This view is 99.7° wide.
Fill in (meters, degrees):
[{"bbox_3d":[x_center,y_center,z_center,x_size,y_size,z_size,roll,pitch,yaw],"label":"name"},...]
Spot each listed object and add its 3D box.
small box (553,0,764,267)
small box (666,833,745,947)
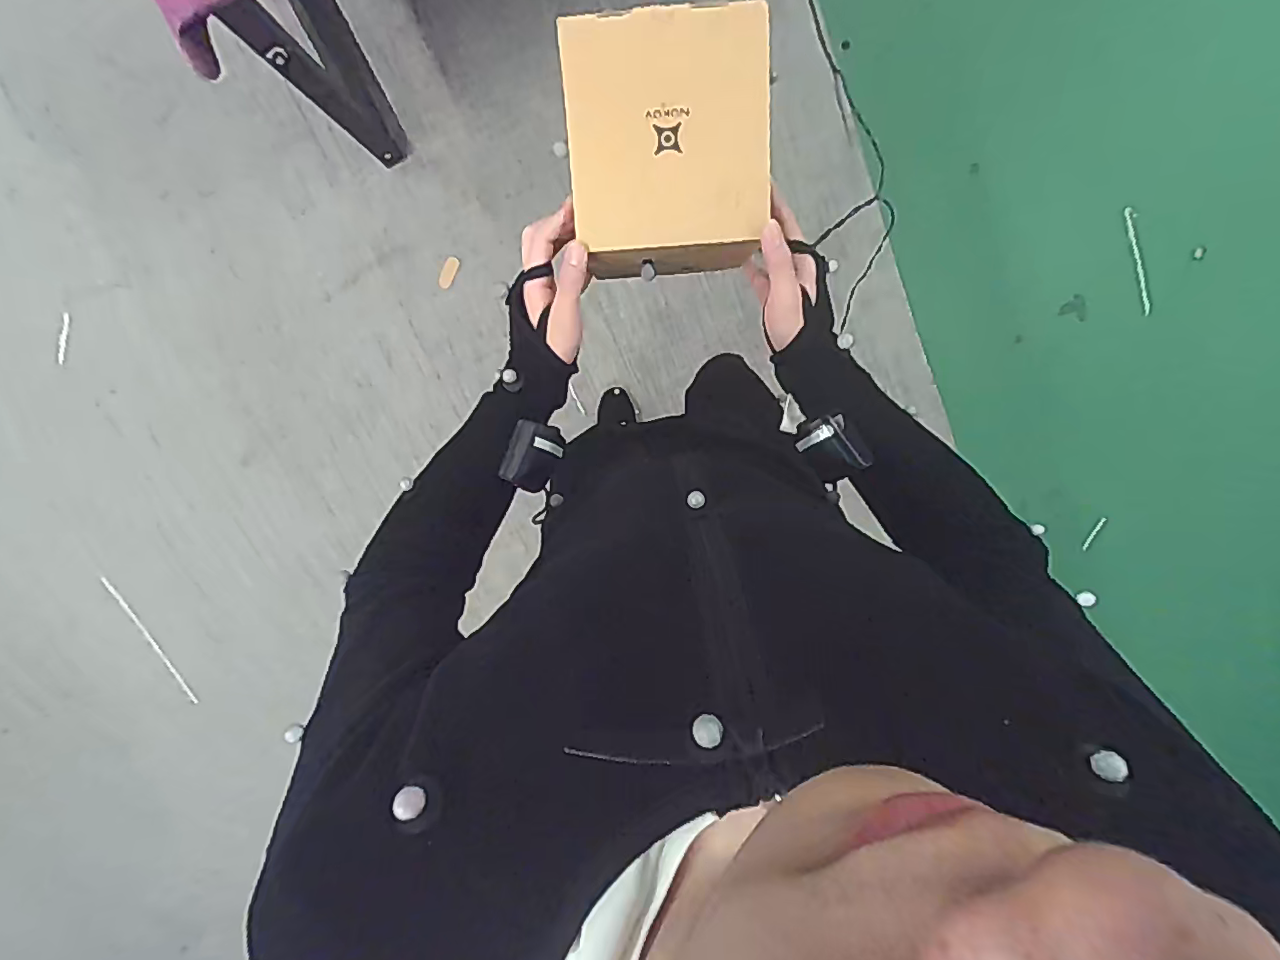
[{"bbox_3d":[0.020,-0.305,0.511,0.168,0.176,0.179,-3,102,2],"label":"small box"},{"bbox_3d":[0.171,1.099,1.468,0.168,0.176,0.179,-14,101,1],"label":"small box"}]
